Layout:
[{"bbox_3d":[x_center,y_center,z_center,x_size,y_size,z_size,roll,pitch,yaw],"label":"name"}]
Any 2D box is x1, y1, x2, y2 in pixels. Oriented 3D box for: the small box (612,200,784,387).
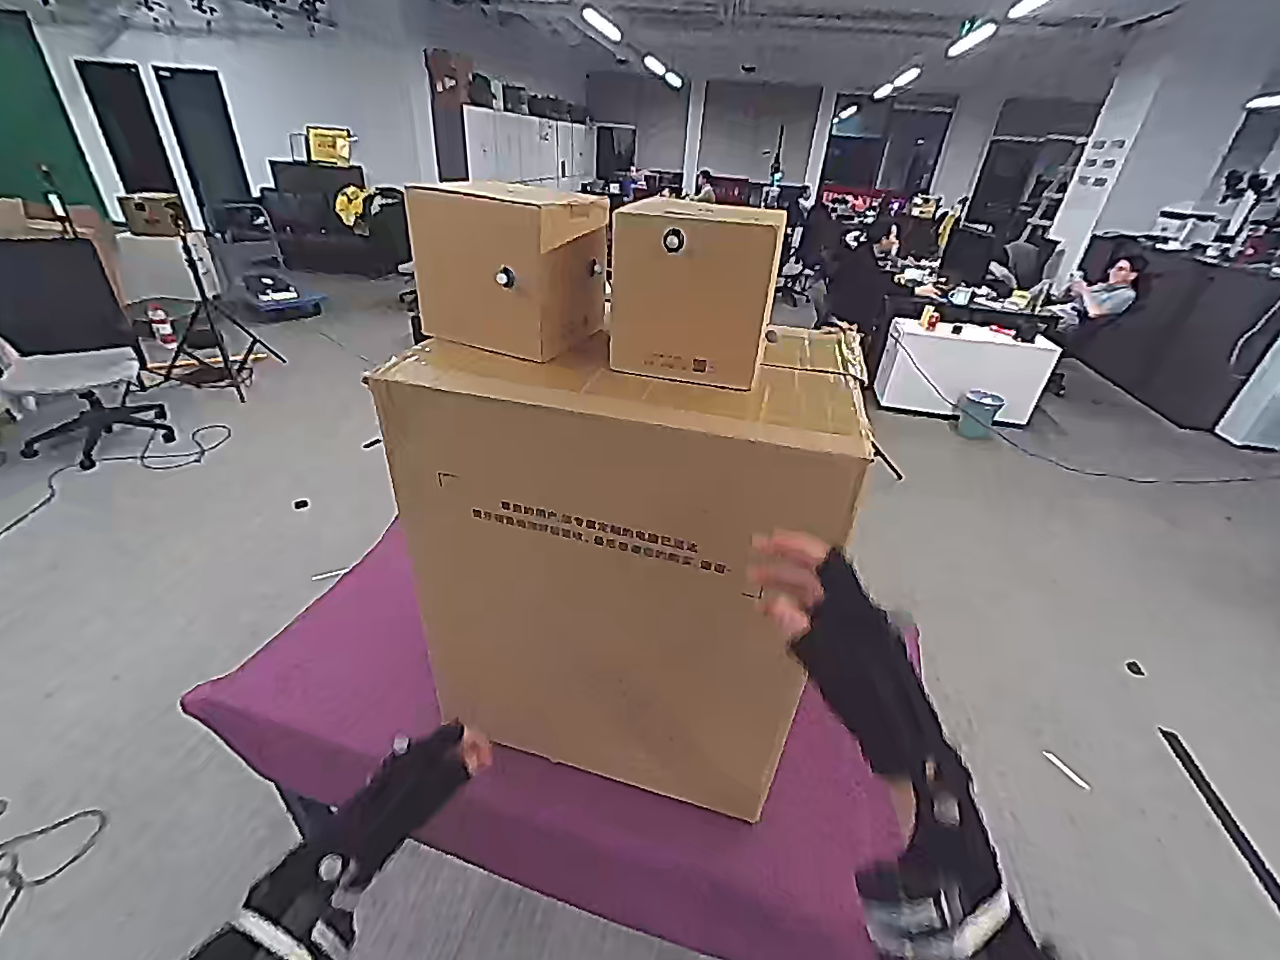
[{"bbox_3d":[0.067,-0.223,0.631,0.168,0.176,0.179,10,31,11],"label":"small box"}]
